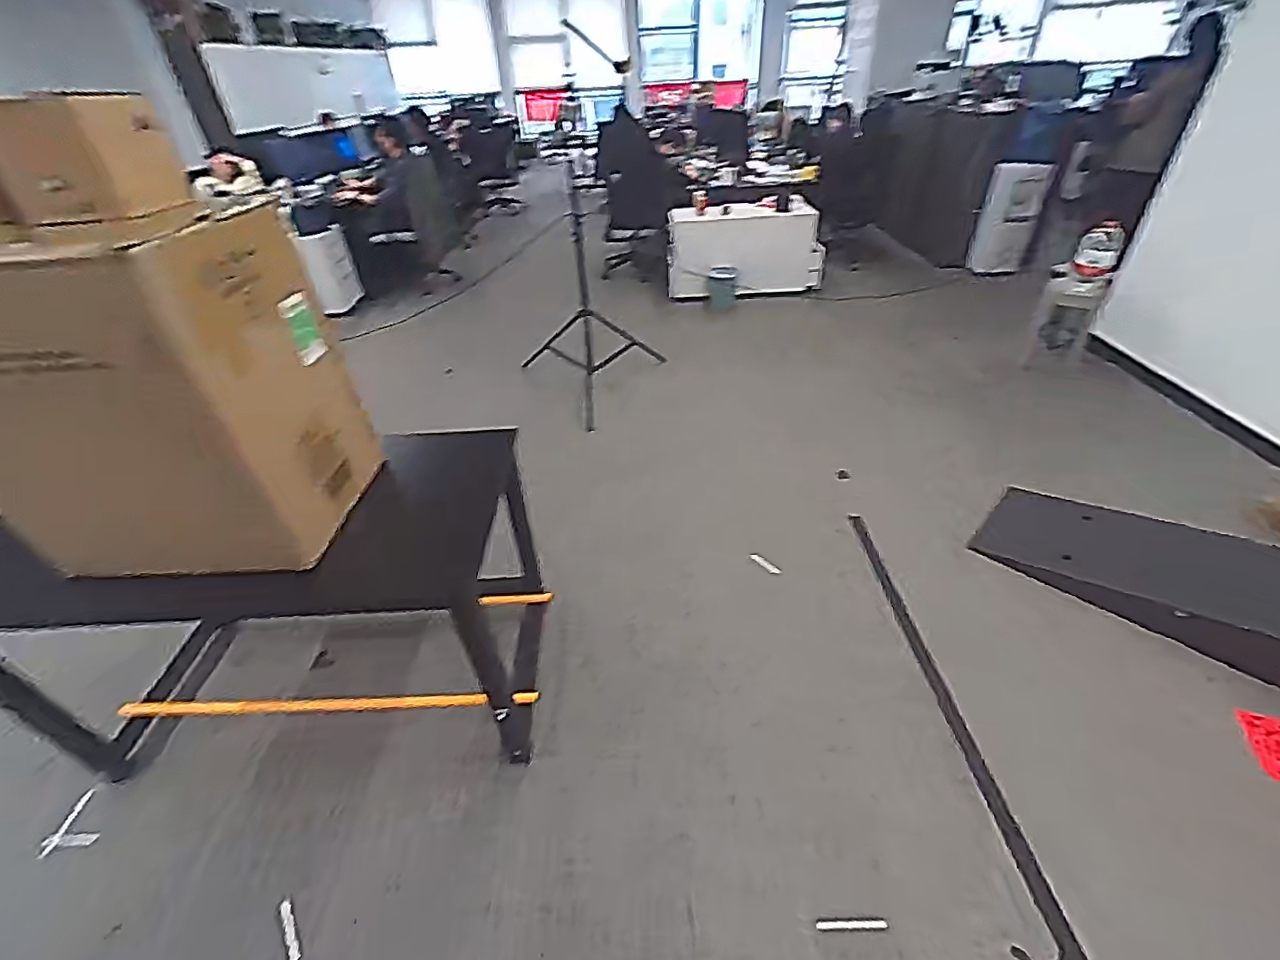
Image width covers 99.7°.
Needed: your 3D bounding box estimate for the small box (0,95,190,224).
[{"bbox_3d":[-0.904,-0.531,0.896,0.168,0.176,0.179,-4,36,-1],"label":"small box"}]
